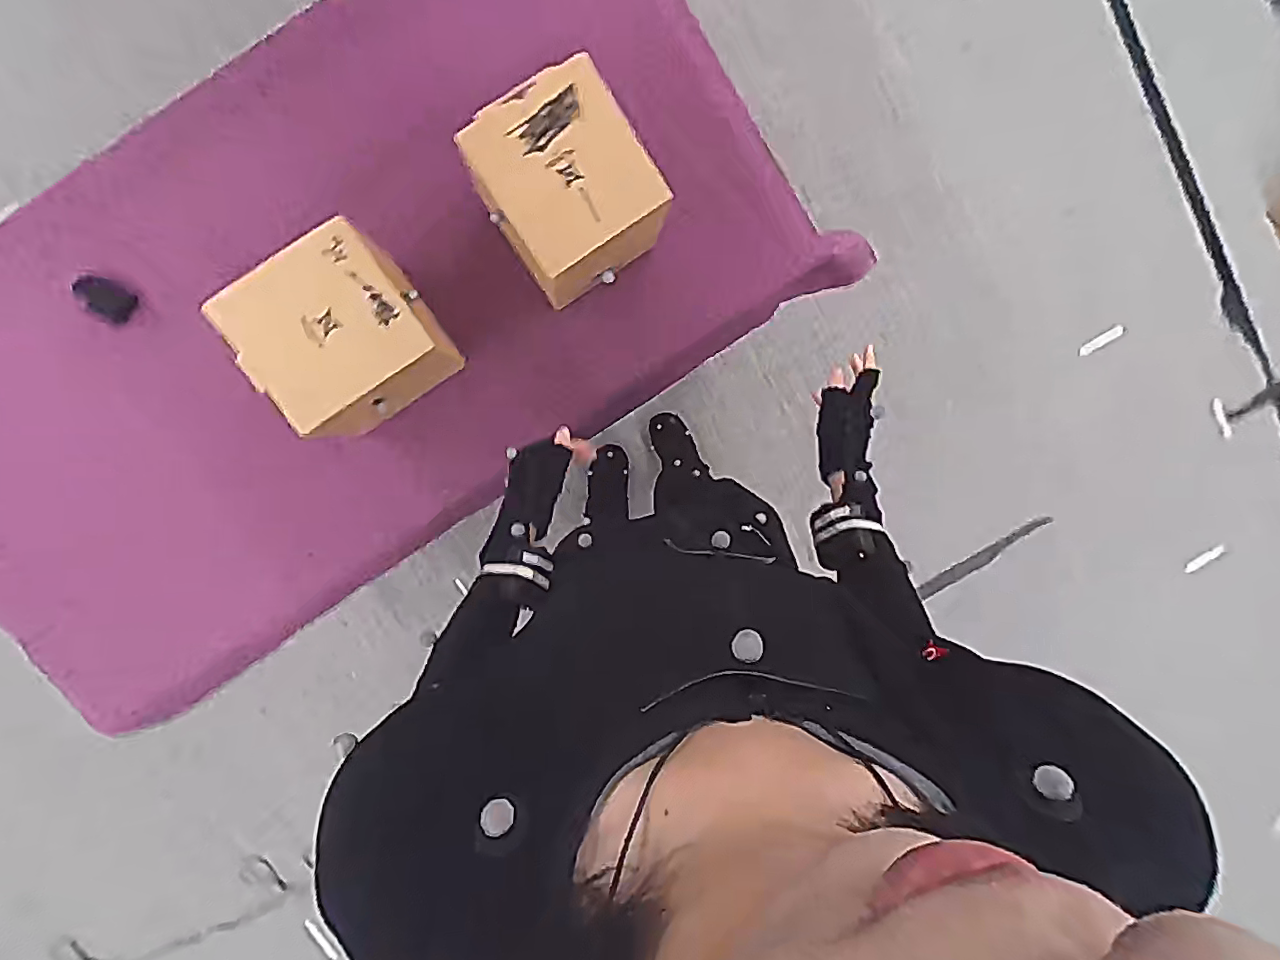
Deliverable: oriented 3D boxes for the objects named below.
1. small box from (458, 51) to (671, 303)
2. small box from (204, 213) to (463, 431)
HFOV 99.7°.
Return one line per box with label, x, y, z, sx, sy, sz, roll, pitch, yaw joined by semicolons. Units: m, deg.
small box;-0.087;-0.345;0.657;0.168;0.176;0.179;-35;98;-1
small box;-0.343;-0.171;0.647;0.179;0.176;0.168;-35;97;-1
